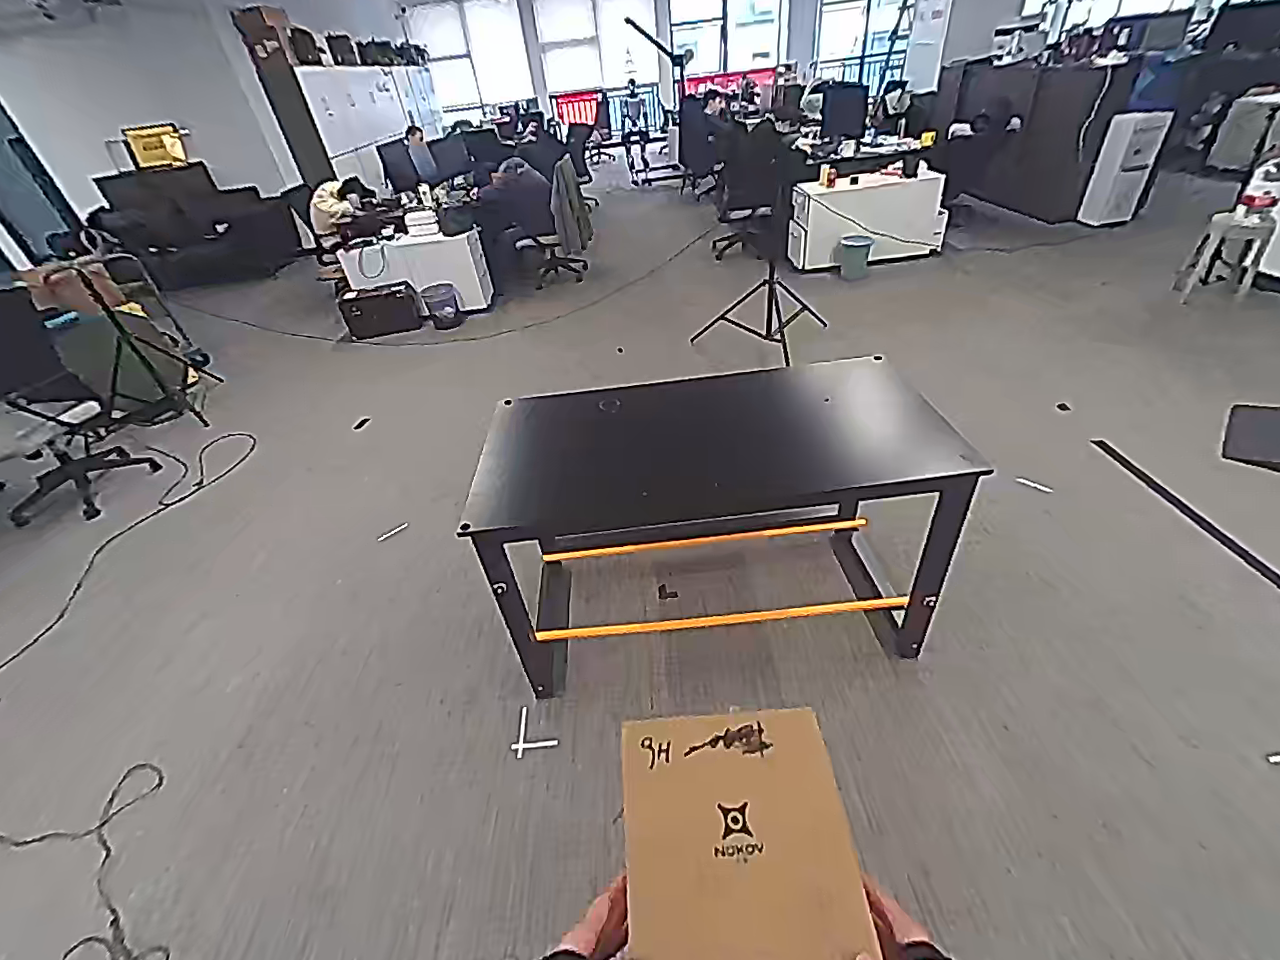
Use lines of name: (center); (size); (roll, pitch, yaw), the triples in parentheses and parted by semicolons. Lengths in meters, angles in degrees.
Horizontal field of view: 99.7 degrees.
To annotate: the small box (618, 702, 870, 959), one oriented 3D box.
small box: (0.073, 0.315, 0.469); (0.168, 0.176, 0.179); (-5, 47, 0)
